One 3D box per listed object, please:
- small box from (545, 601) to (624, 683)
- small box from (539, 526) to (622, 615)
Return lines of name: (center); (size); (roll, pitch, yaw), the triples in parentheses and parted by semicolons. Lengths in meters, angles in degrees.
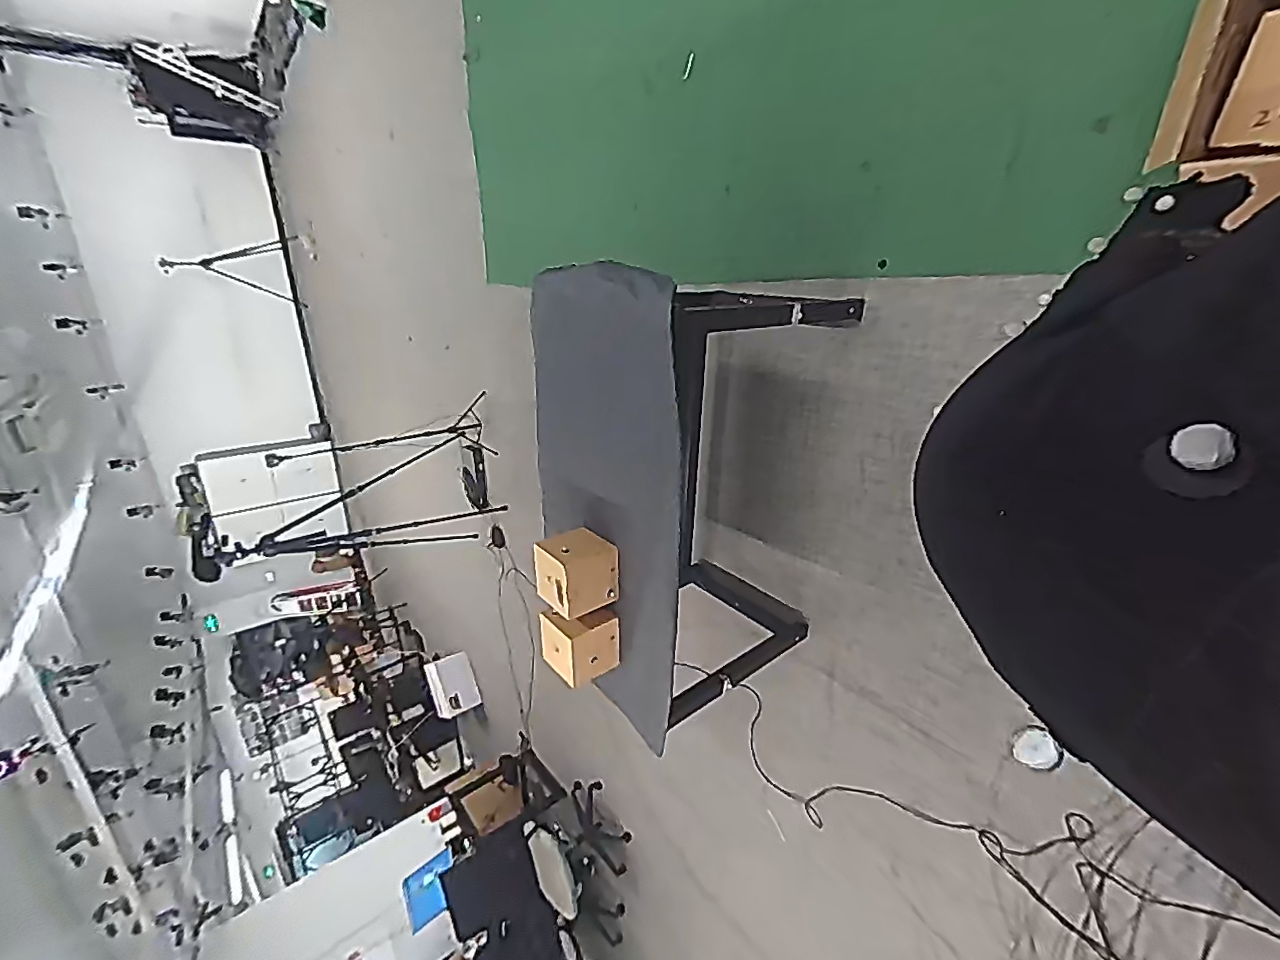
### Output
small box: (-0.158, 0.453, 1.592); (0.179, 0.176, 0.168); (23, 121, 48)
small box: (-0.162, 0.244, 1.513); (0.179, 0.176, 0.168); (24, 121, 48)
